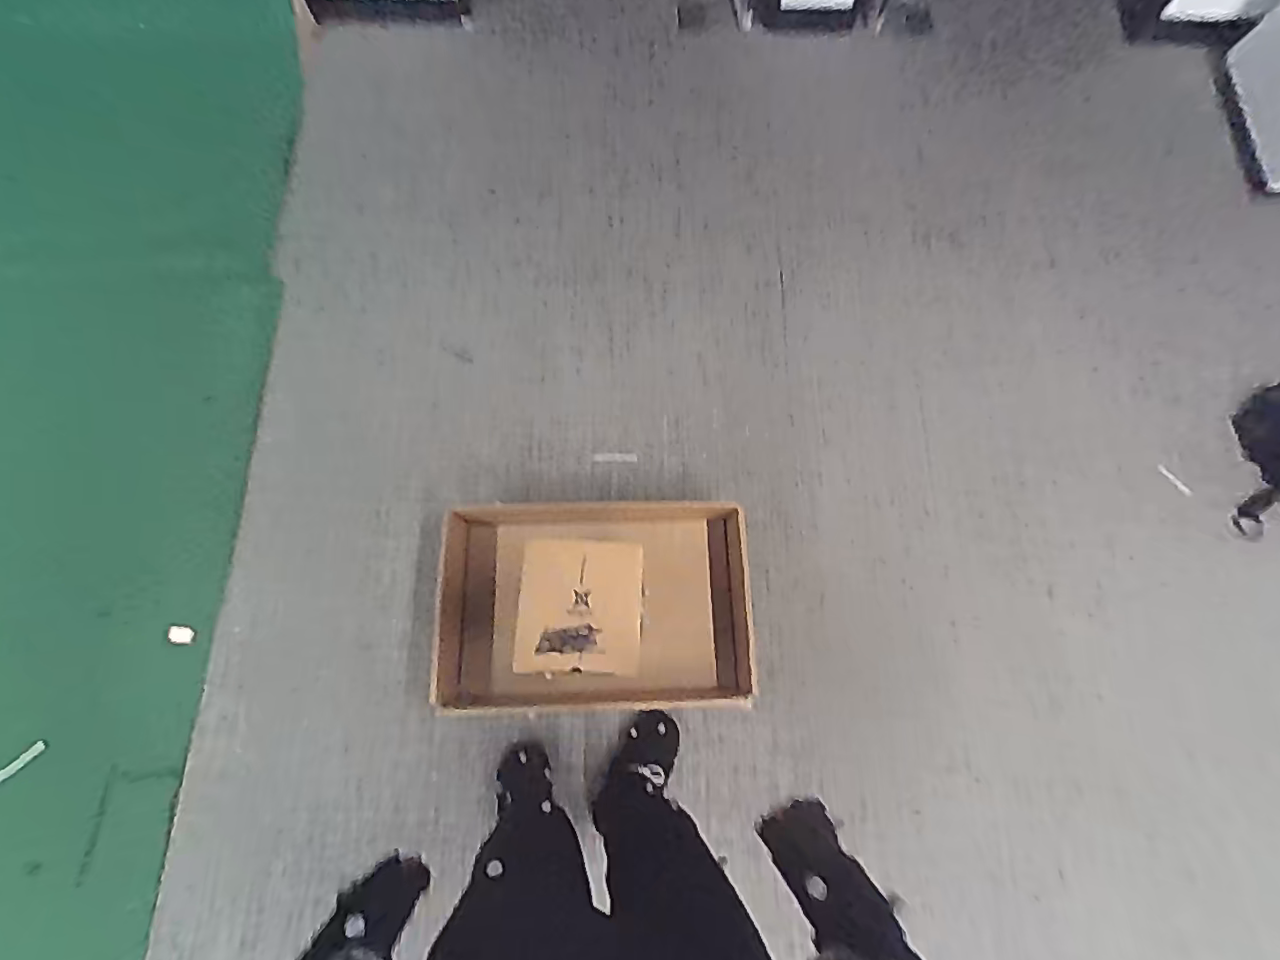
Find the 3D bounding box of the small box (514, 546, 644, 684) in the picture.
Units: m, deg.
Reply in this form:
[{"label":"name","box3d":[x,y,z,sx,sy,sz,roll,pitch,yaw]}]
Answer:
[{"label":"small box","box3d":[-0.081,0.203,0.806,0.168,0.176,0.179,3,72,-1]}]
